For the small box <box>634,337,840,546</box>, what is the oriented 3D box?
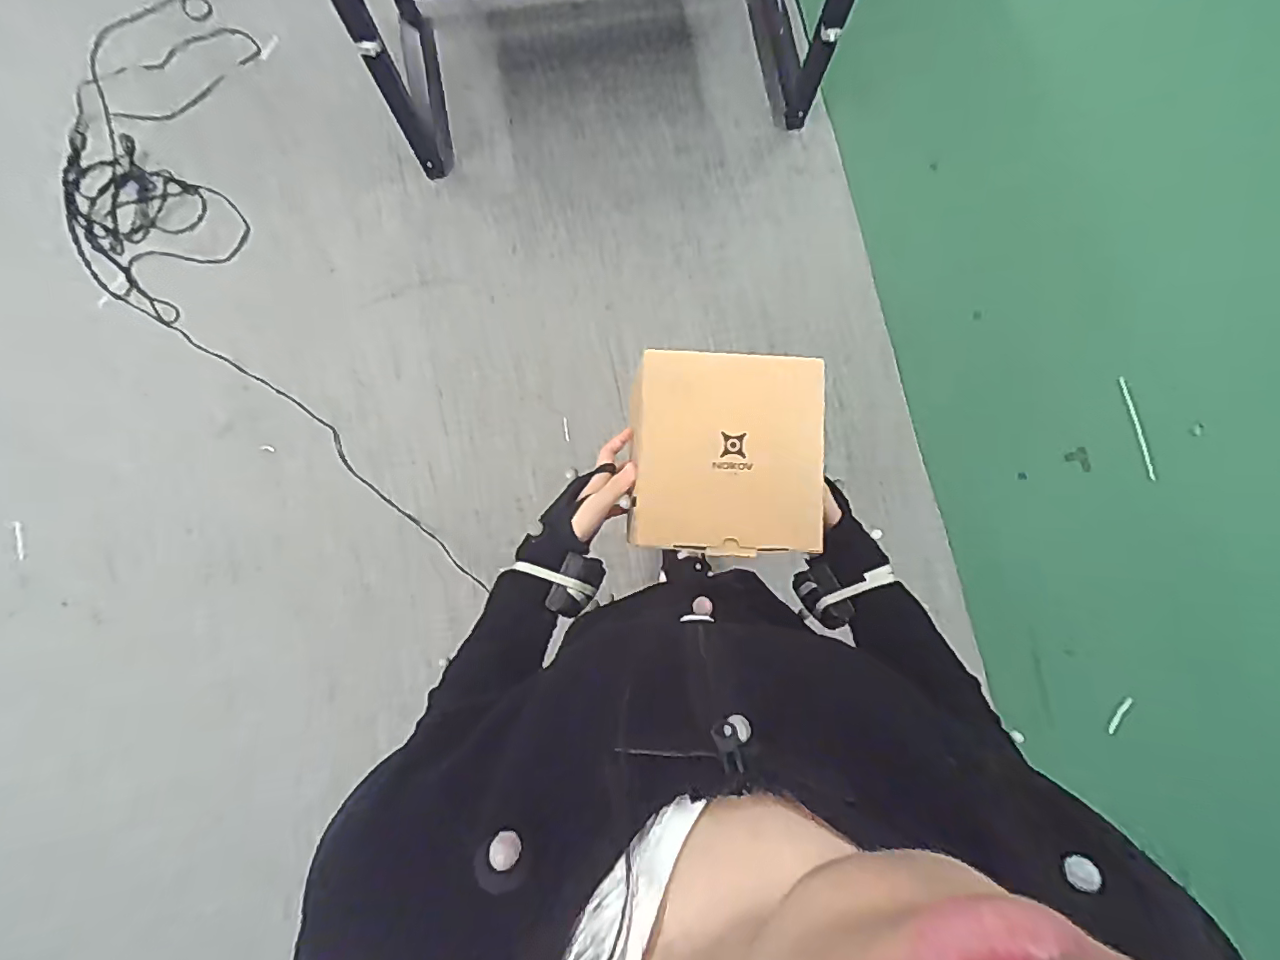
[{"bbox_3d":[0.083,-0.025,0.537,0.168,0.176,0.179,2,85,-5],"label":"small box"}]
